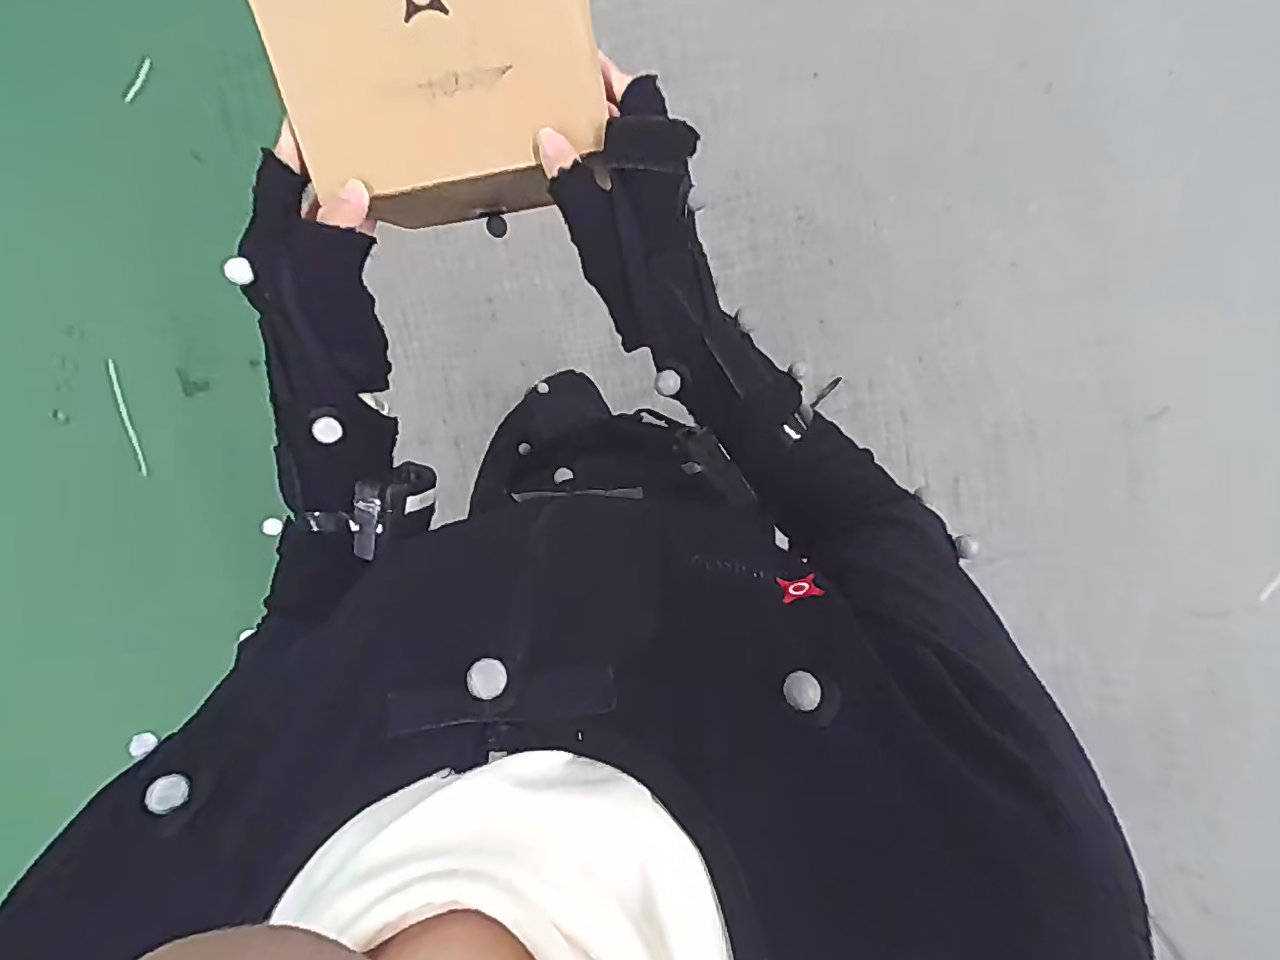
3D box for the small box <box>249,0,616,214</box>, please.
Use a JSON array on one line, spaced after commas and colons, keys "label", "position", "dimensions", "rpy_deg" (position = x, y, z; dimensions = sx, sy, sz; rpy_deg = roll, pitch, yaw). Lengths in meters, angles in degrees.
[{"label": "small box", "position": [-0.111, -0.277, 0.326], "dimensions": [0.168, 0.176, 0.179], "rpy_deg": [-10, 111, 0]}]
